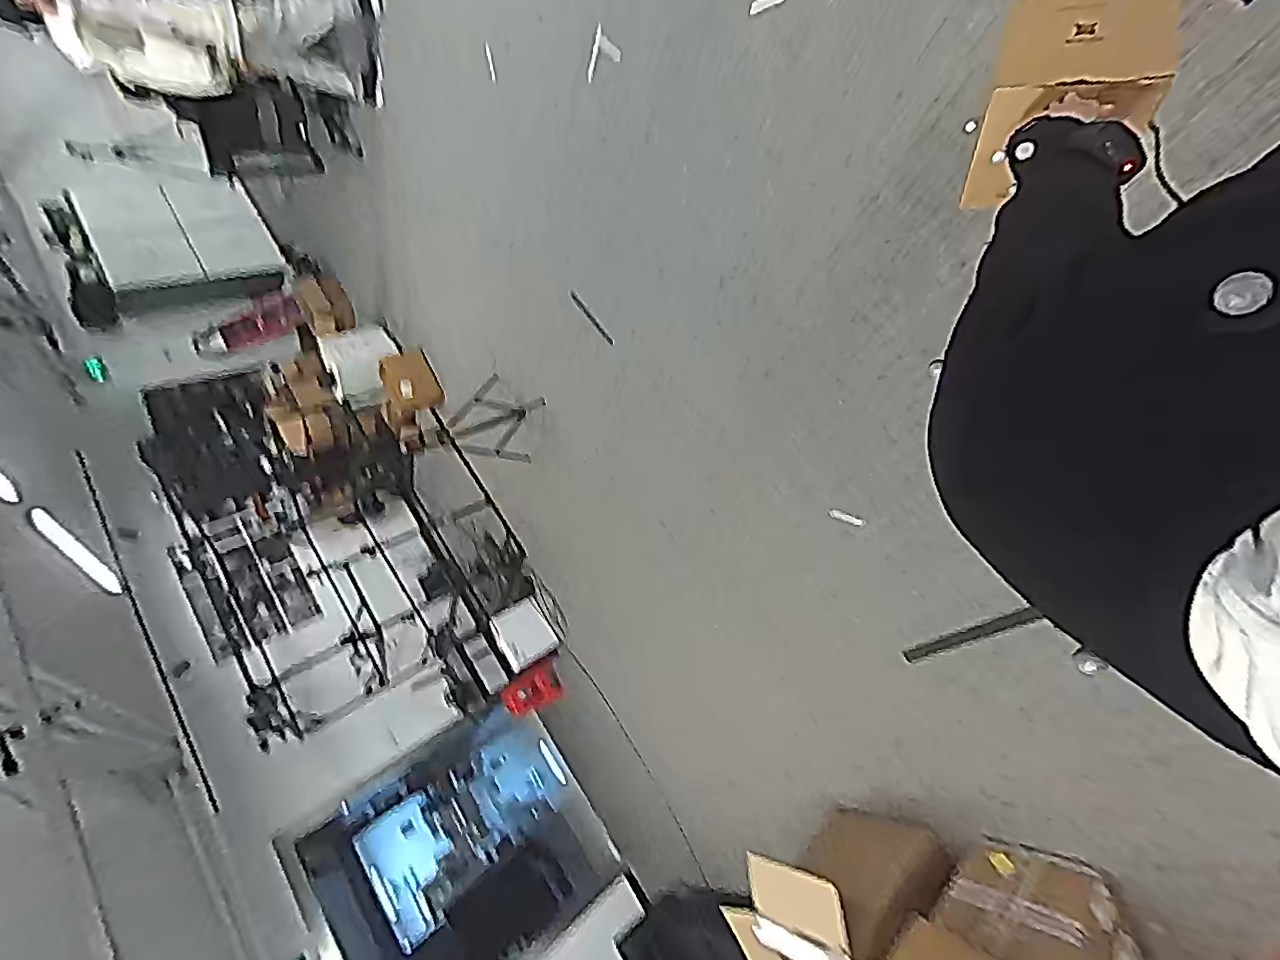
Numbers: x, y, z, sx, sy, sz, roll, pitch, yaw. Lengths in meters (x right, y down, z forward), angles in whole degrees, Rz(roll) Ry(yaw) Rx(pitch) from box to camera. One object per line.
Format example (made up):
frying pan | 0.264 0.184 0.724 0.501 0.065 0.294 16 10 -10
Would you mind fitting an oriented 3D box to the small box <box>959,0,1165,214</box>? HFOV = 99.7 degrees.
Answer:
small box | 0.527 -0.469 0.697 0.168 0.179 0.176 10 160 21
